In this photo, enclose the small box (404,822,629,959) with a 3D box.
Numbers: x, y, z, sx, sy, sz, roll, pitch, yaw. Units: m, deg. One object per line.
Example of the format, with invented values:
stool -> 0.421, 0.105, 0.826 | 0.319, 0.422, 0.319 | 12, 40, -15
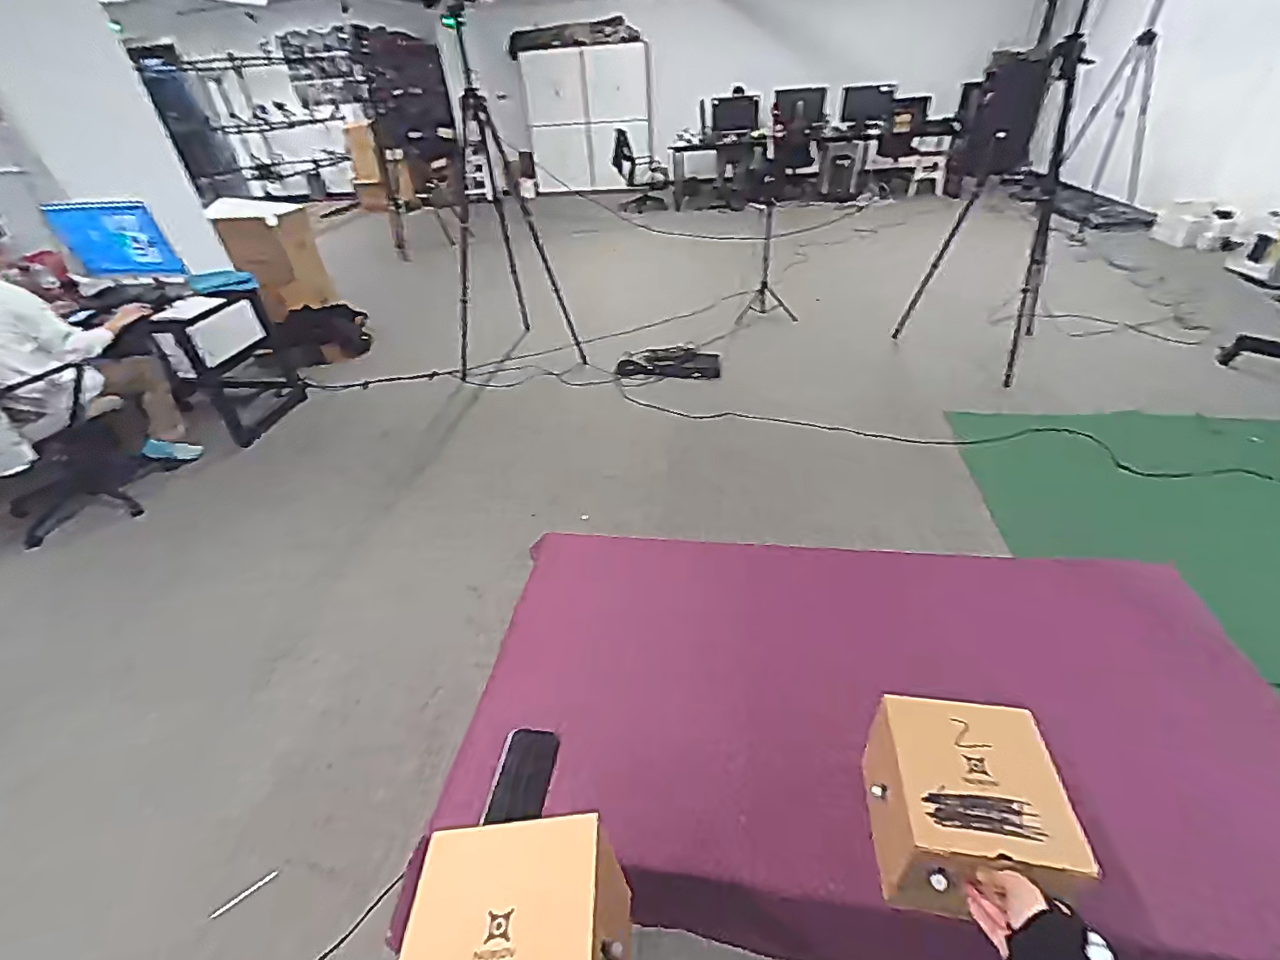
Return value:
small box -> -0.104, 0.453, 0.495 | 0.168, 0.176, 0.179 | -9, 32, 4
